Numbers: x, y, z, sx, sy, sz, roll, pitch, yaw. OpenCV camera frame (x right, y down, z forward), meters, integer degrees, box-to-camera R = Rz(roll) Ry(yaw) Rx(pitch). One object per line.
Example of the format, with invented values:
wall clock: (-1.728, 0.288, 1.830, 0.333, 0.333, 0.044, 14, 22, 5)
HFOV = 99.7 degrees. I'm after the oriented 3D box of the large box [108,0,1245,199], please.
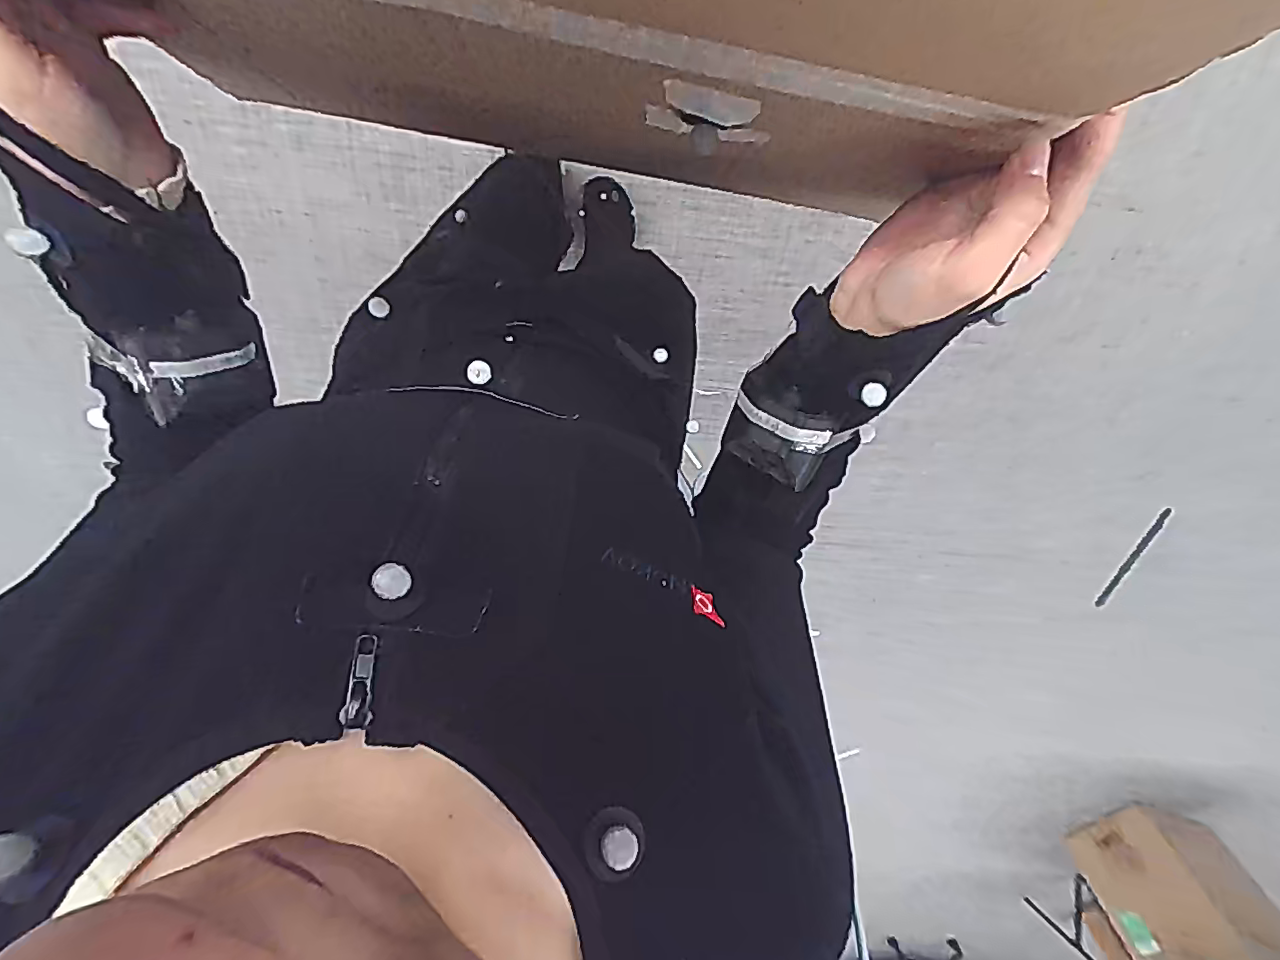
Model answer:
large box: (-0.013, -0.319, 0.158, 0.408, 0.320, 0.320, 7, 104, -5)
